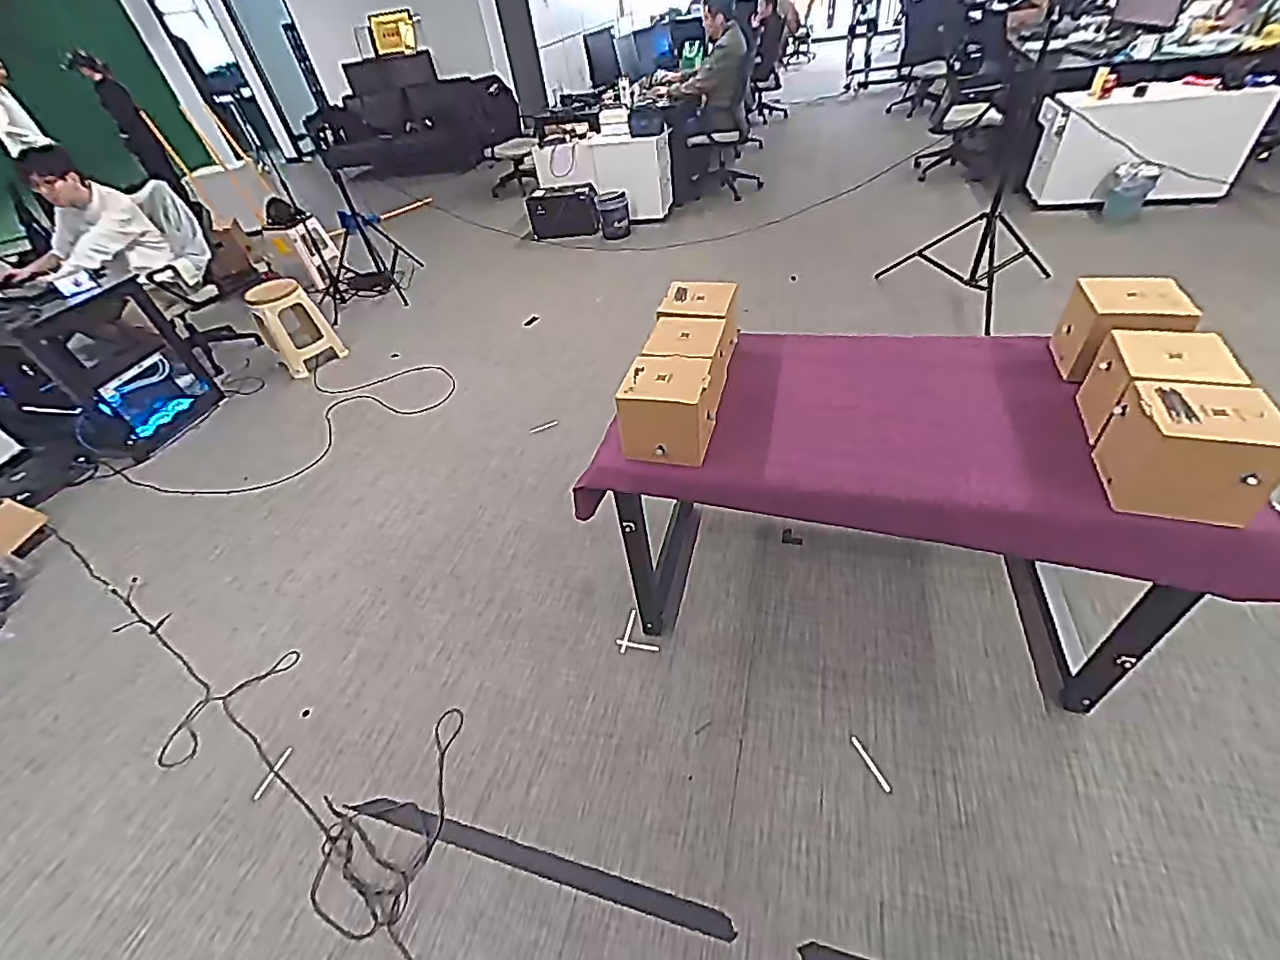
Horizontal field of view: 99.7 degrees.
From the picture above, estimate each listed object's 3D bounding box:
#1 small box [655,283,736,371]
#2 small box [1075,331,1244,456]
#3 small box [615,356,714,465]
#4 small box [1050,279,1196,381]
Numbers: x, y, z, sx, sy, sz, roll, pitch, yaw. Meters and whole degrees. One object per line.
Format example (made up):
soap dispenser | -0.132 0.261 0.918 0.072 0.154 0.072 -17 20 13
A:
small box | 0.152 -0.403 1.430 0.179 0.176 0.168 8 48 17
small box | 0.979 -0.167 1.041 0.168 0.176 0.179 9 45 20
small box | 0.060 -0.150 1.180 0.179 0.176 0.168 8 44 16
small box | 1.038 -0.325 1.187 0.179 0.176 0.168 7 46 16
